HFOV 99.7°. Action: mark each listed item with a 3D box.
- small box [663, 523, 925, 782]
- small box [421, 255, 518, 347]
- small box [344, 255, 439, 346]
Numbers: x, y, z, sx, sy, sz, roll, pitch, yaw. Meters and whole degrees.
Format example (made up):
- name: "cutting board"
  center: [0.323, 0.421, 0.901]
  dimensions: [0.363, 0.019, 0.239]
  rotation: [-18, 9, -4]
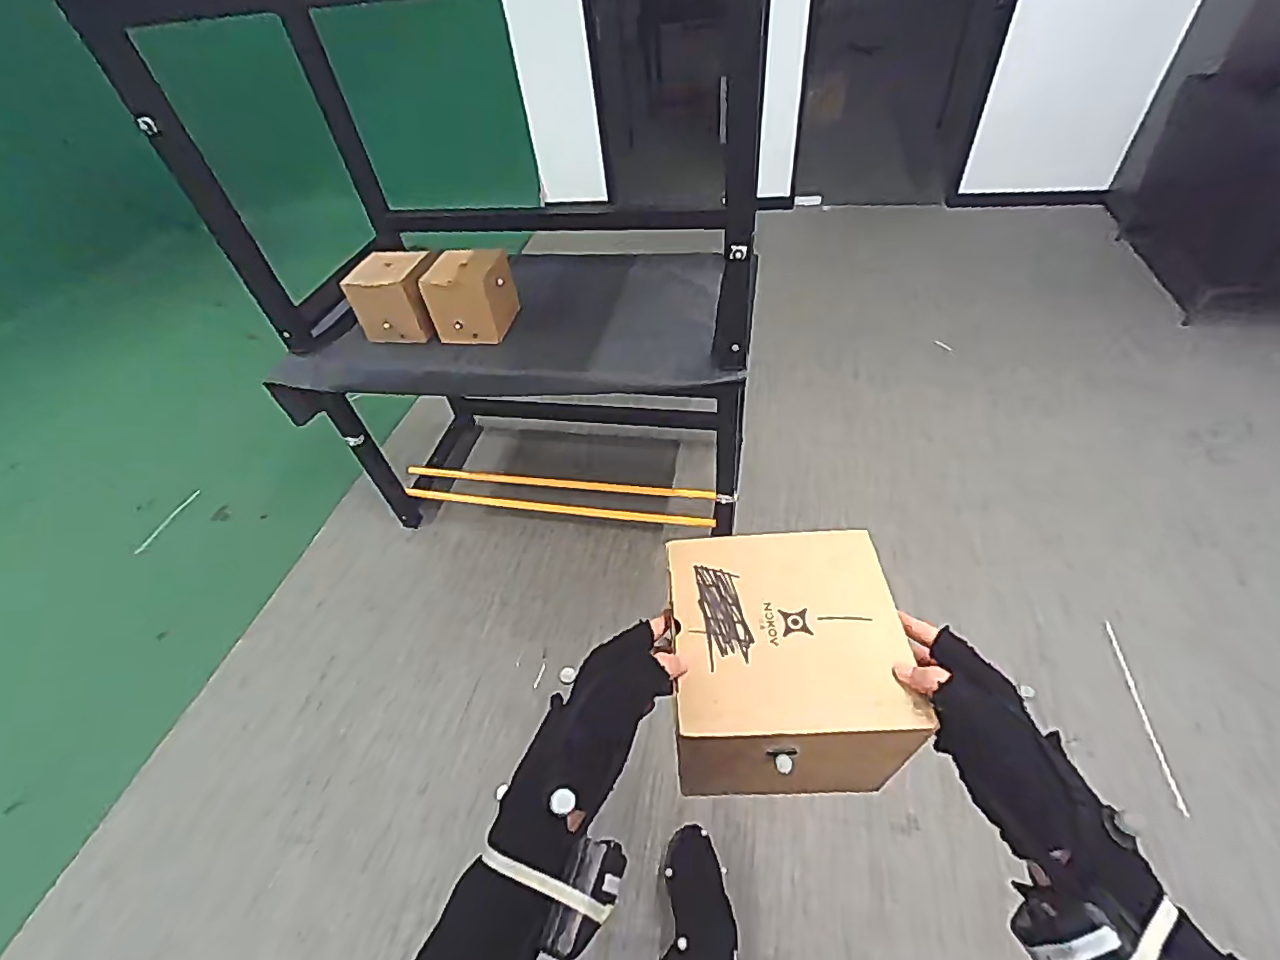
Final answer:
- name: "small box"
  center: [0.114, 0.156, 0.480]
  dimensions: [0.179, 0.176, 0.168]
  rotation: [-3, 47, 2]
- name: "small box"
  center: [-0.428, -0.463, 1.397]
  dimensions: [0.168, 0.176, 0.179]
  rotation: [3, 47, 10]
- name: "small box"
  center: [-0.630, -0.475, 1.428]
  dimensions: [0.168, 0.176, 0.179]
  rotation: [3, 47, 10]
